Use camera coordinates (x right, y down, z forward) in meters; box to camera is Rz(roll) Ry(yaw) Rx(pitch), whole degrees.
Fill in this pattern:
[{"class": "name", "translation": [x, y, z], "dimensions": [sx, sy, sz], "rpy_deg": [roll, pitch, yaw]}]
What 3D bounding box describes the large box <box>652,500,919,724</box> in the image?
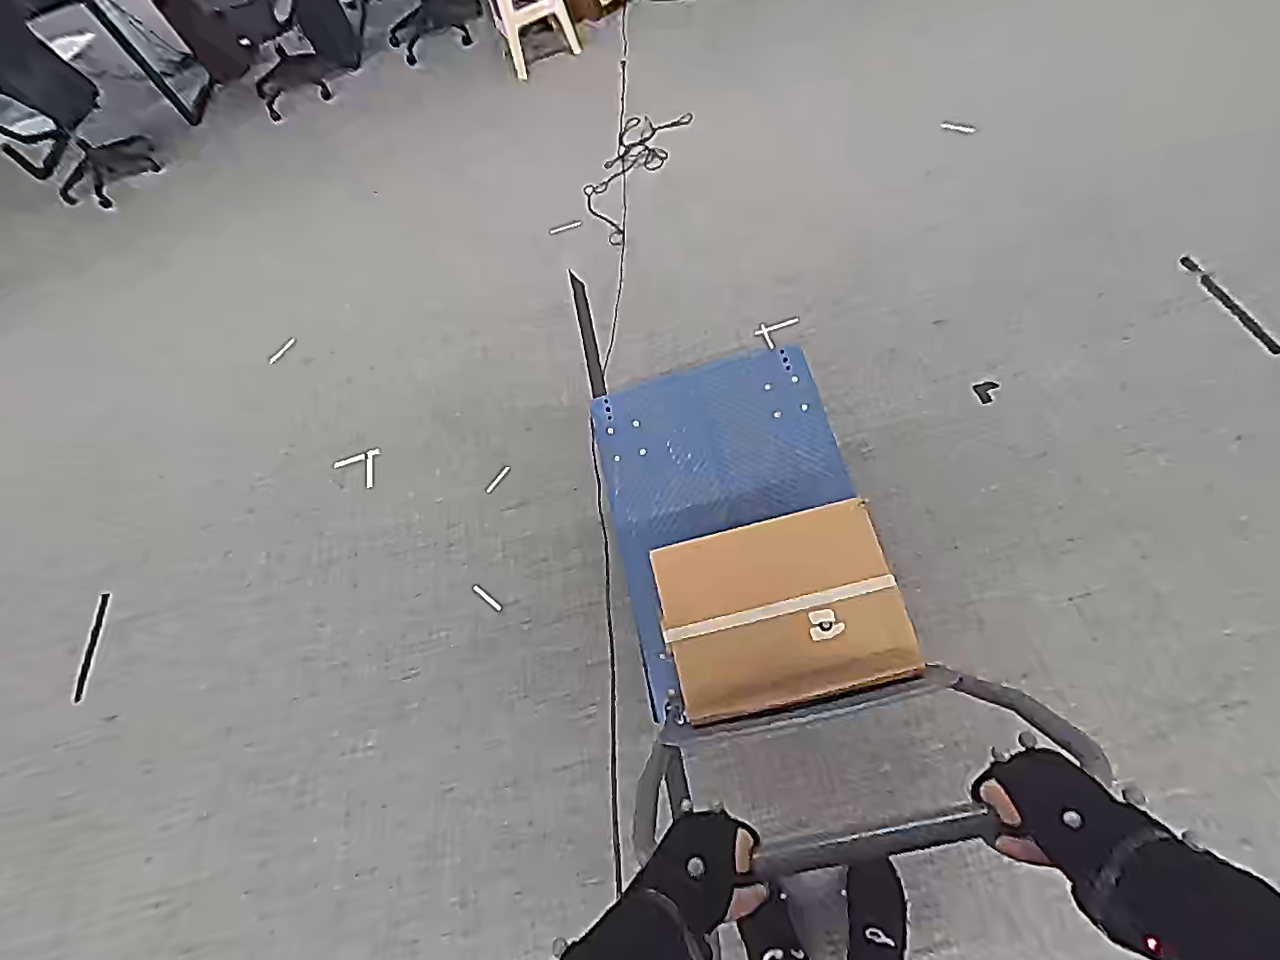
[{"class": "large box", "translation": [0.268, 0.273, 1.109], "dimensions": [0.408, 0.320, 0.320], "rpy_deg": [-15, 72, 4]}]
